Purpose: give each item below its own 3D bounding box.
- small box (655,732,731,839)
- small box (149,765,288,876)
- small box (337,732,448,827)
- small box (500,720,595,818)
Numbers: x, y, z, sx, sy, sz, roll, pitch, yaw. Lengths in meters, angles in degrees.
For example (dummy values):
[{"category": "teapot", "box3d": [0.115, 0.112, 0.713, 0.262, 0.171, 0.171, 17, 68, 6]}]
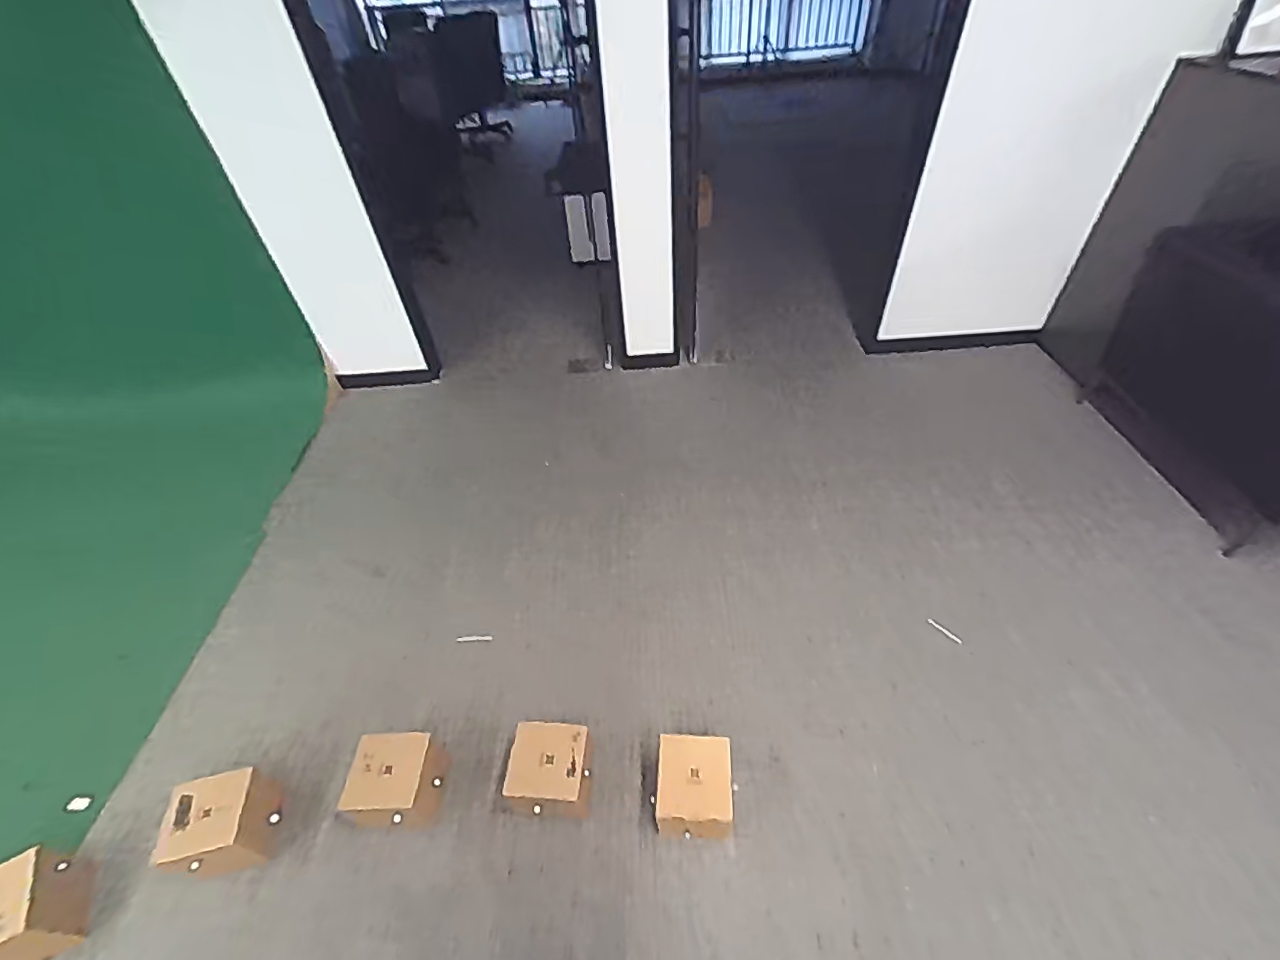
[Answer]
[{"category": "small box", "box3d": [0.123, 0.722, 1.278, 0.168, 0.176, 0.179, 1, 46, 5]}, {"category": "small box", "box3d": [-0.979, 0.805, 1.275, 0.179, 0.176, 0.168, -11, 45, -8]}, {"category": "small box", "box3d": [-0.590, 0.731, 1.320, 0.179, 0.176, 0.168, -2, 44, 2]}, {"category": "small box", "box3d": [-0.216, 0.705, 1.317, 0.179, 0.176, 0.168, 1, 45, 6]}]
